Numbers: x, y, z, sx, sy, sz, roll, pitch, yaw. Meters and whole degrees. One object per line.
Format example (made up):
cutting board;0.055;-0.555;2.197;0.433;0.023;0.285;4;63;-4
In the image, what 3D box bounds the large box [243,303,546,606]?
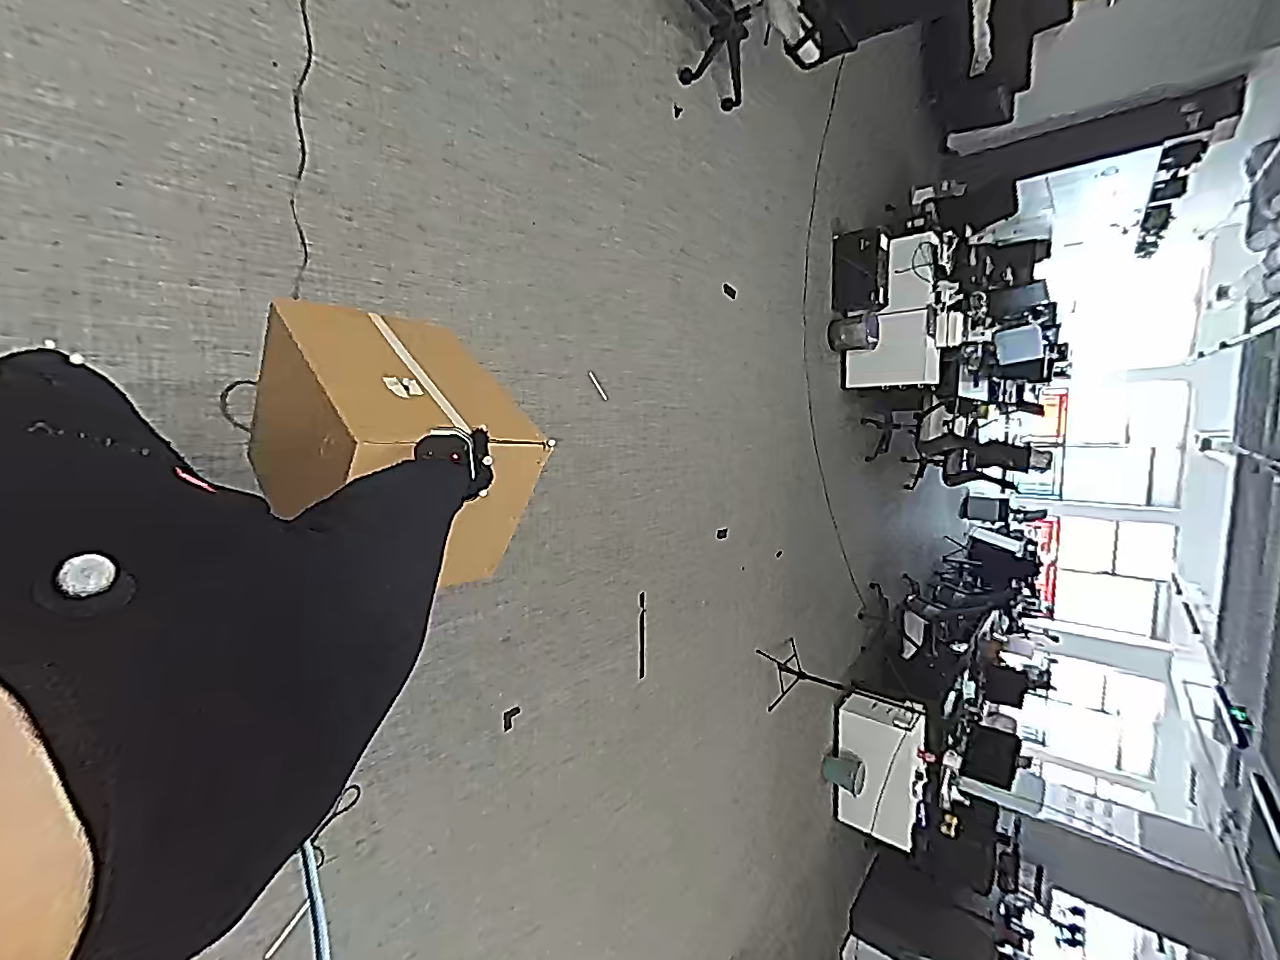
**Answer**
large box;-0.447;-0.051;0.956;0.320;0.408;0.320;-3;131;-50
